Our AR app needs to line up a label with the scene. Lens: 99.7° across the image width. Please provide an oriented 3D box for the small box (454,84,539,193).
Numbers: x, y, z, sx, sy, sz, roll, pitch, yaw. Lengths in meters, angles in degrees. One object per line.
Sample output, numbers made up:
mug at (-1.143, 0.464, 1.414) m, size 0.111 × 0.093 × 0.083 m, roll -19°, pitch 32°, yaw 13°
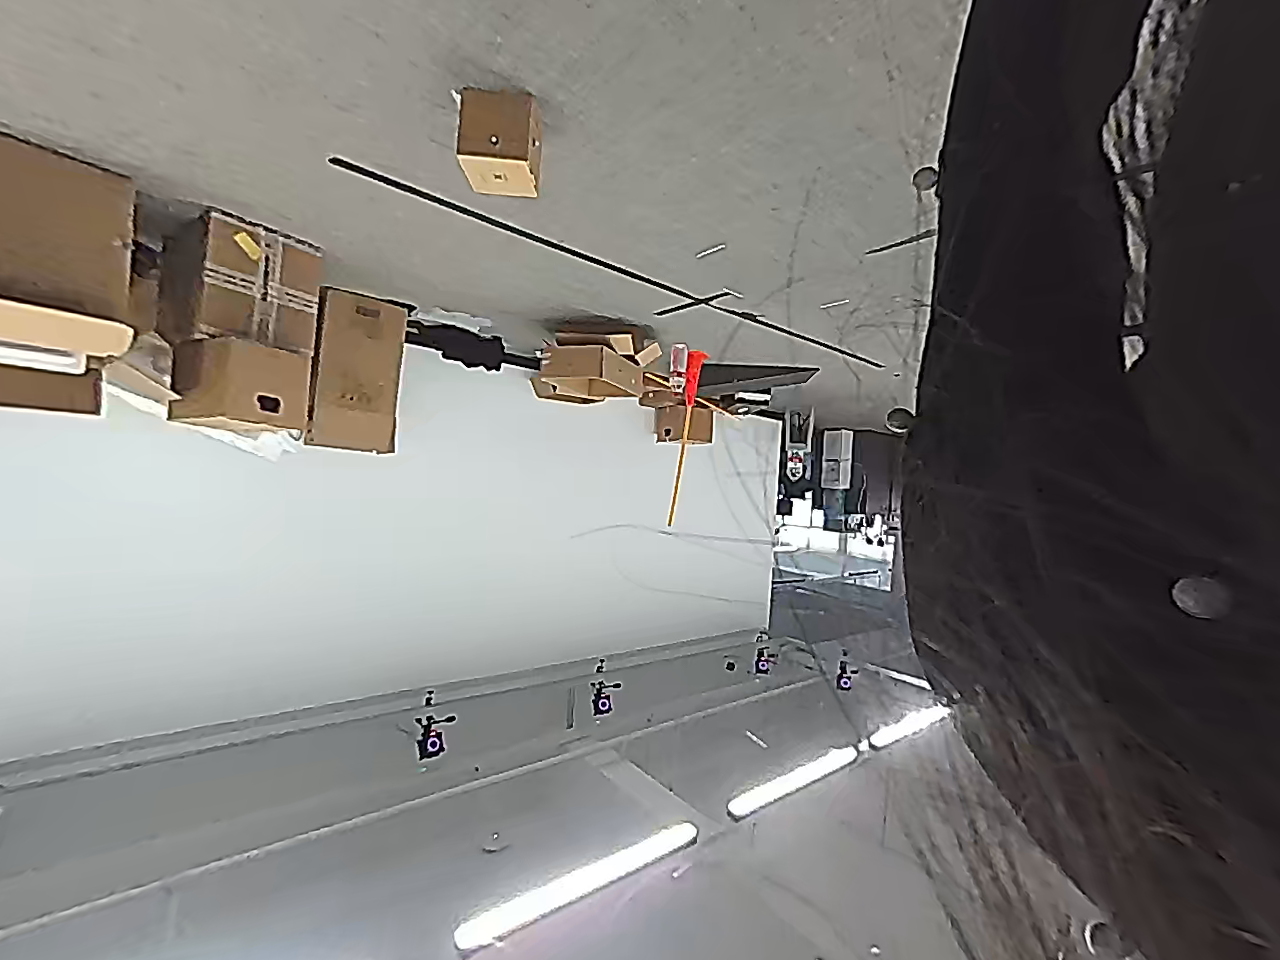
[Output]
small box at (-0.356, -0.862, 1.371) m, size 0.179 × 0.176 × 0.168 m, roll 5°, pitch 179°, yaw -1°
